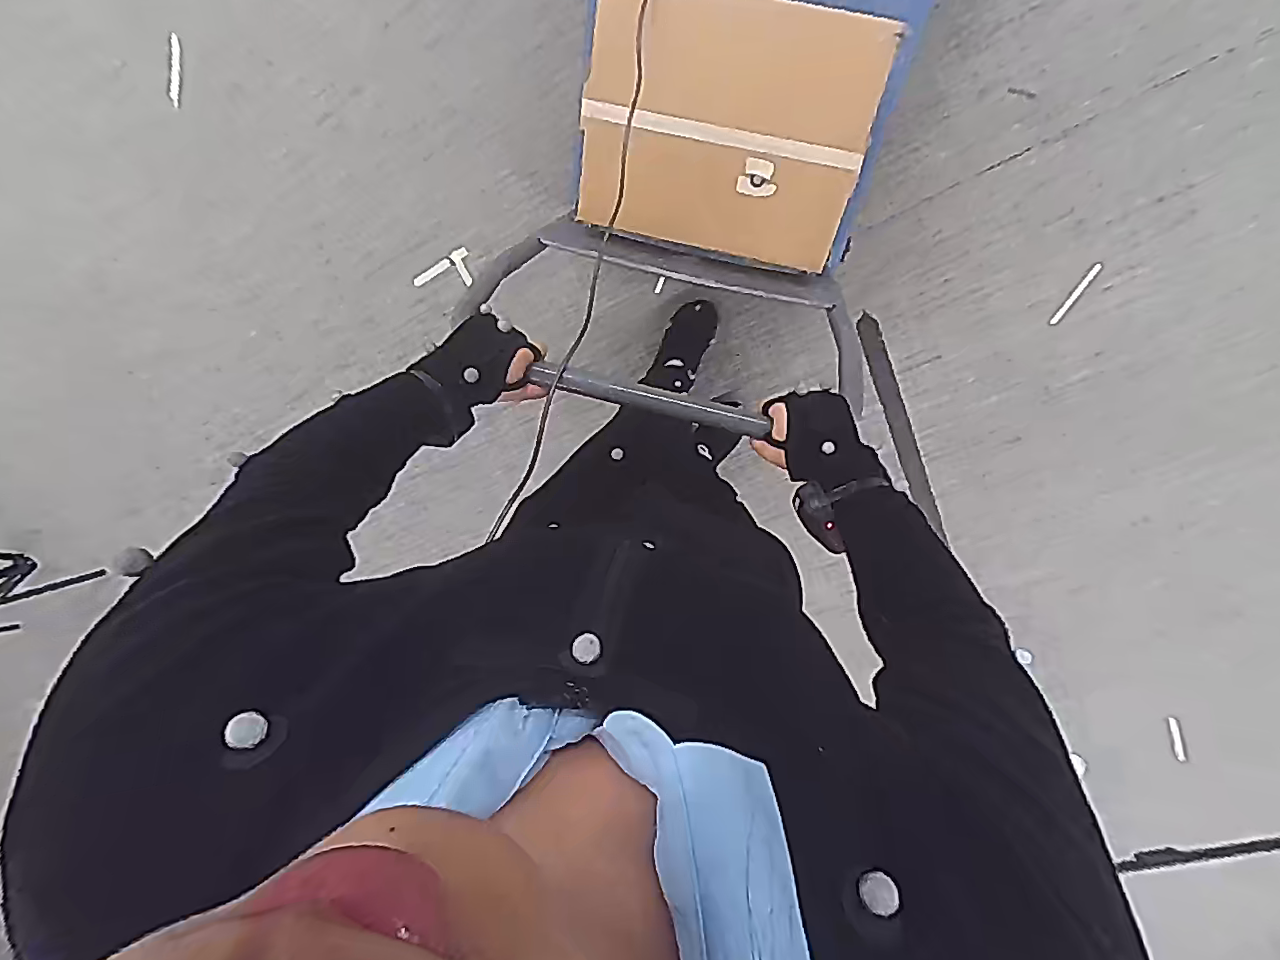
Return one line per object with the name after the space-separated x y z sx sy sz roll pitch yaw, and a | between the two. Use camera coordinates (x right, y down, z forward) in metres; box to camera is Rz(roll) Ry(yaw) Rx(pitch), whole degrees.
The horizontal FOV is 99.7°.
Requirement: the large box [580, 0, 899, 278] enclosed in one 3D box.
0.140 -0.566 0.909 0.408 0.320 0.320 14 125 2 | large box
